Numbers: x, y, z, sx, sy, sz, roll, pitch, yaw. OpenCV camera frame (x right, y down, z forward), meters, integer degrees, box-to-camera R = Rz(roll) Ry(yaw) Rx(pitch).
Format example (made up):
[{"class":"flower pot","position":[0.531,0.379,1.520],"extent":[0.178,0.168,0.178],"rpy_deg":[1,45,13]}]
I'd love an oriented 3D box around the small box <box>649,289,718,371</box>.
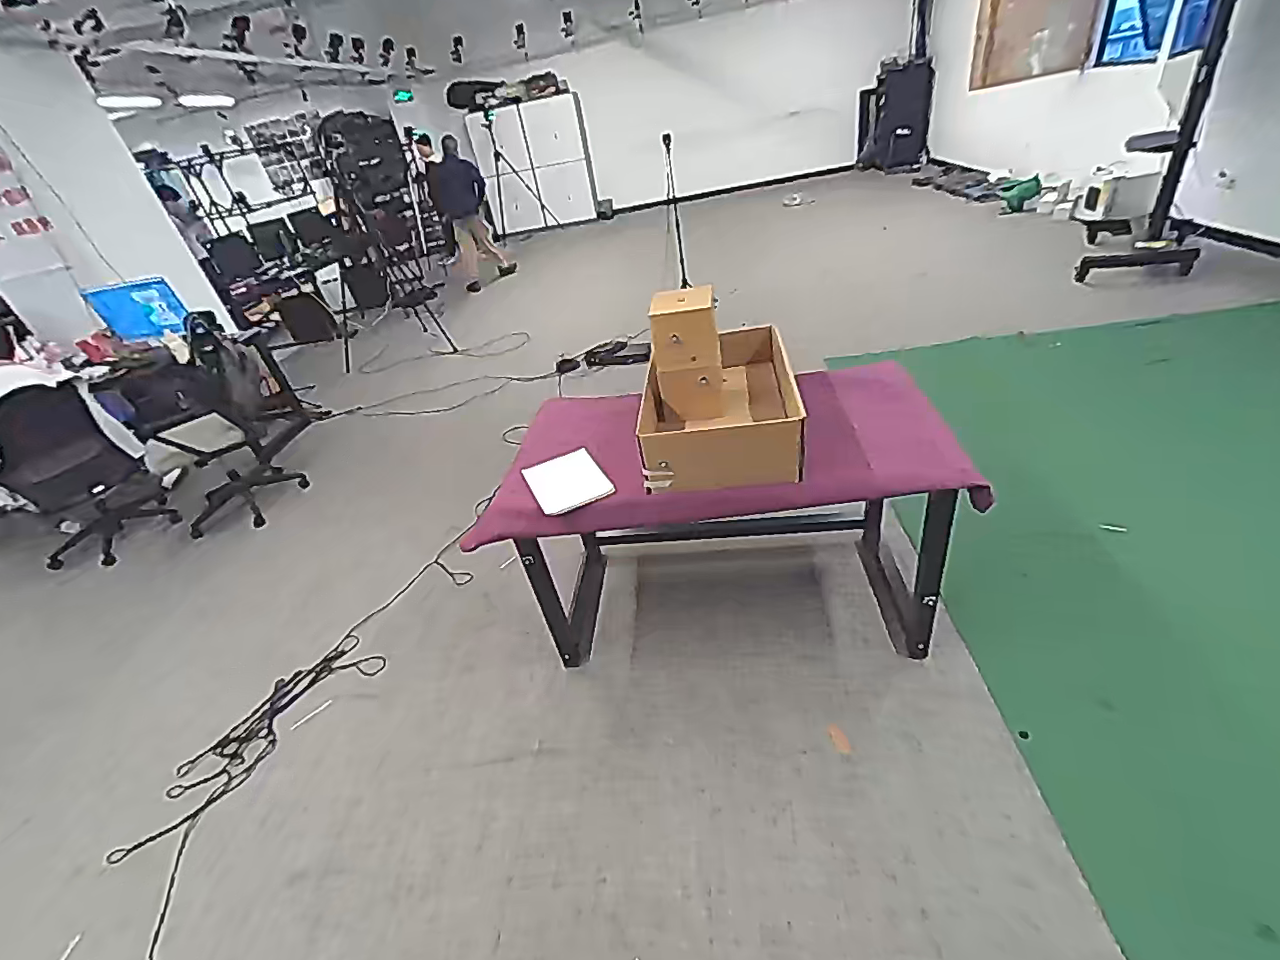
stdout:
[{"class":"small box","position":[0.129,-0.413,1.514],"extent":[0.168,0.176,0.179],"rpy_deg":[-4,36,12]}]
